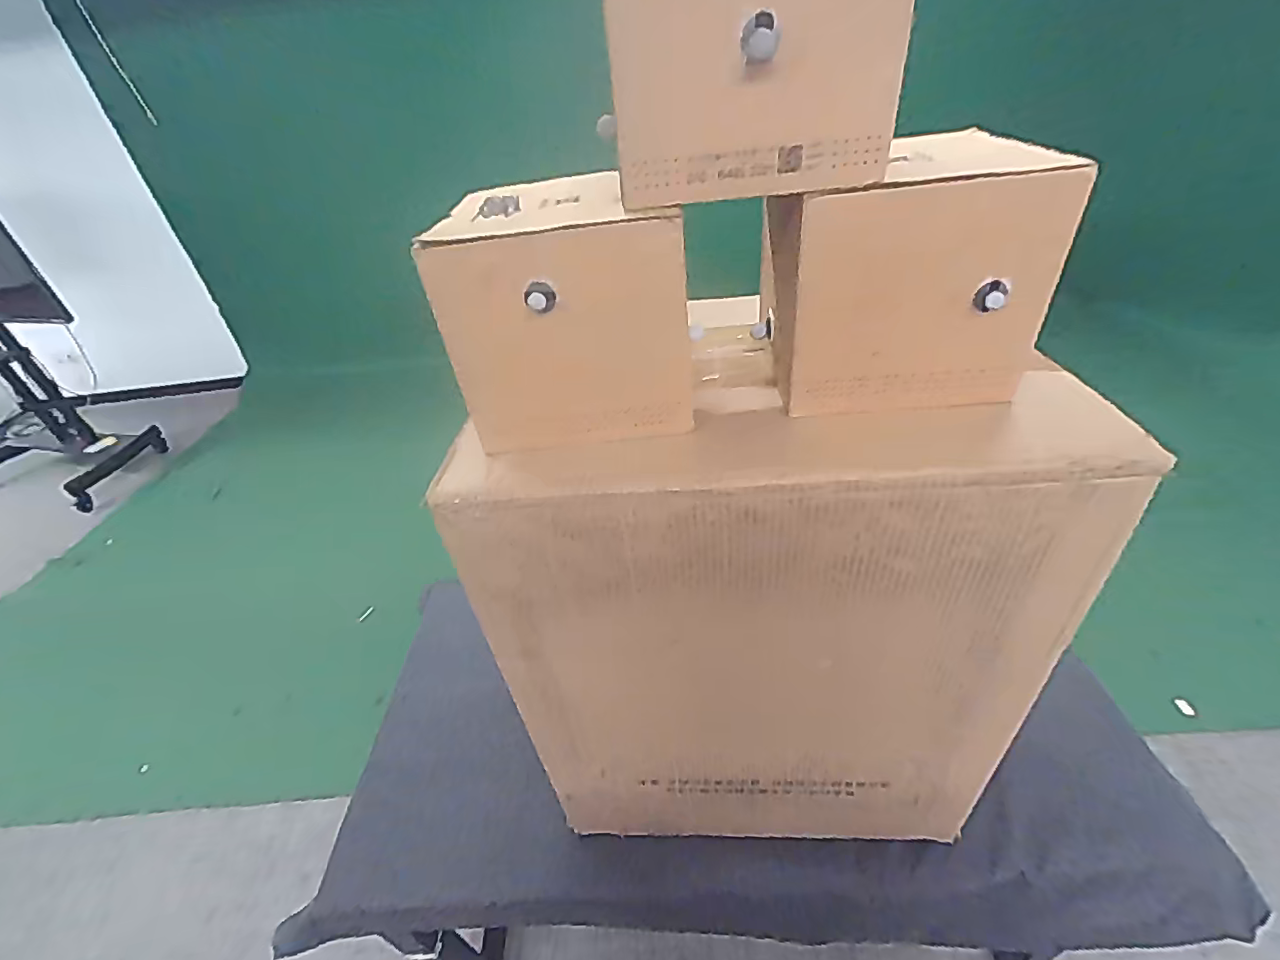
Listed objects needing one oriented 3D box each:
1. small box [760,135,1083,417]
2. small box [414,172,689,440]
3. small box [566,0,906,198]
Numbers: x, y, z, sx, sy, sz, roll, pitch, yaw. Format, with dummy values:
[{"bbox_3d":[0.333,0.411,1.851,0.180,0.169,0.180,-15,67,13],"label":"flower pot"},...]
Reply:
[{"bbox_3d":[0.198,-0.167,0.448,0.179,0.176,0.168,-4,38,6],"label":"small box"},{"bbox_3d":[-0.052,-0.147,0.462,0.179,0.176,0.168,-3,41,7],"label":"small box"},{"bbox_3d":[0.062,-0.306,0.368,0.179,0.176,0.168,-25,41,-19],"label":"small box"}]
